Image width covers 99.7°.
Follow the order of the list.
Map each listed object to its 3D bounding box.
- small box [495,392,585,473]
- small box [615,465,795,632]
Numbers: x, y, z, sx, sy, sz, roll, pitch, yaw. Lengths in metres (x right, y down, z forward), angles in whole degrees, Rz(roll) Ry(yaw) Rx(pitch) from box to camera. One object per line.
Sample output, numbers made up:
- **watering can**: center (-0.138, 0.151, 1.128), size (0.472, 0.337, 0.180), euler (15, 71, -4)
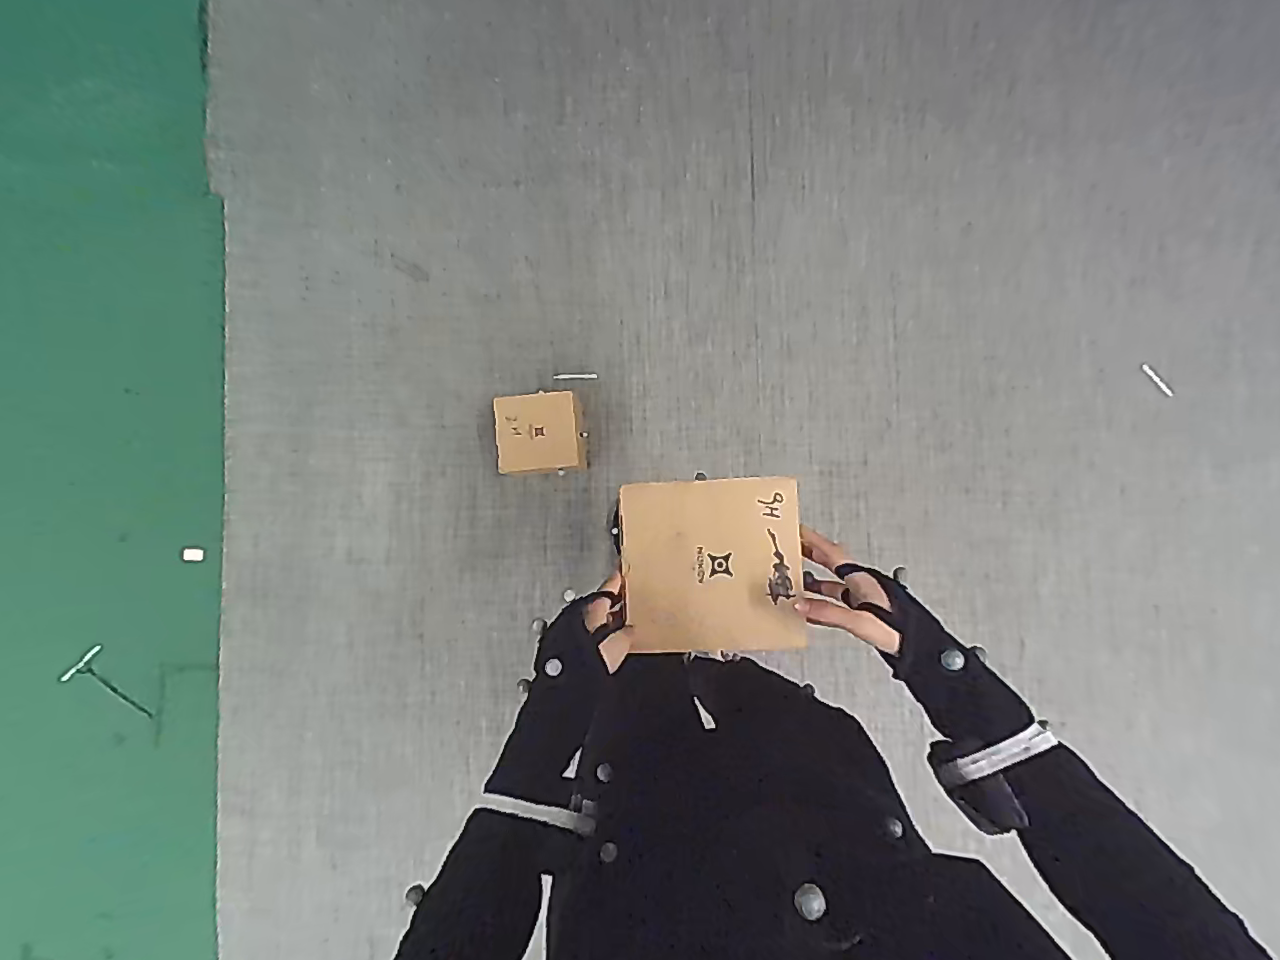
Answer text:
- **small box**: center (-0.225, -0.105, 1.261), size (0.179, 0.176, 0.168), euler (-5, 88, 2)
- **small box**: center (0.071, 0.075, 0.616), size (0.179, 0.176, 0.168), euler (-2, 86, 5)
